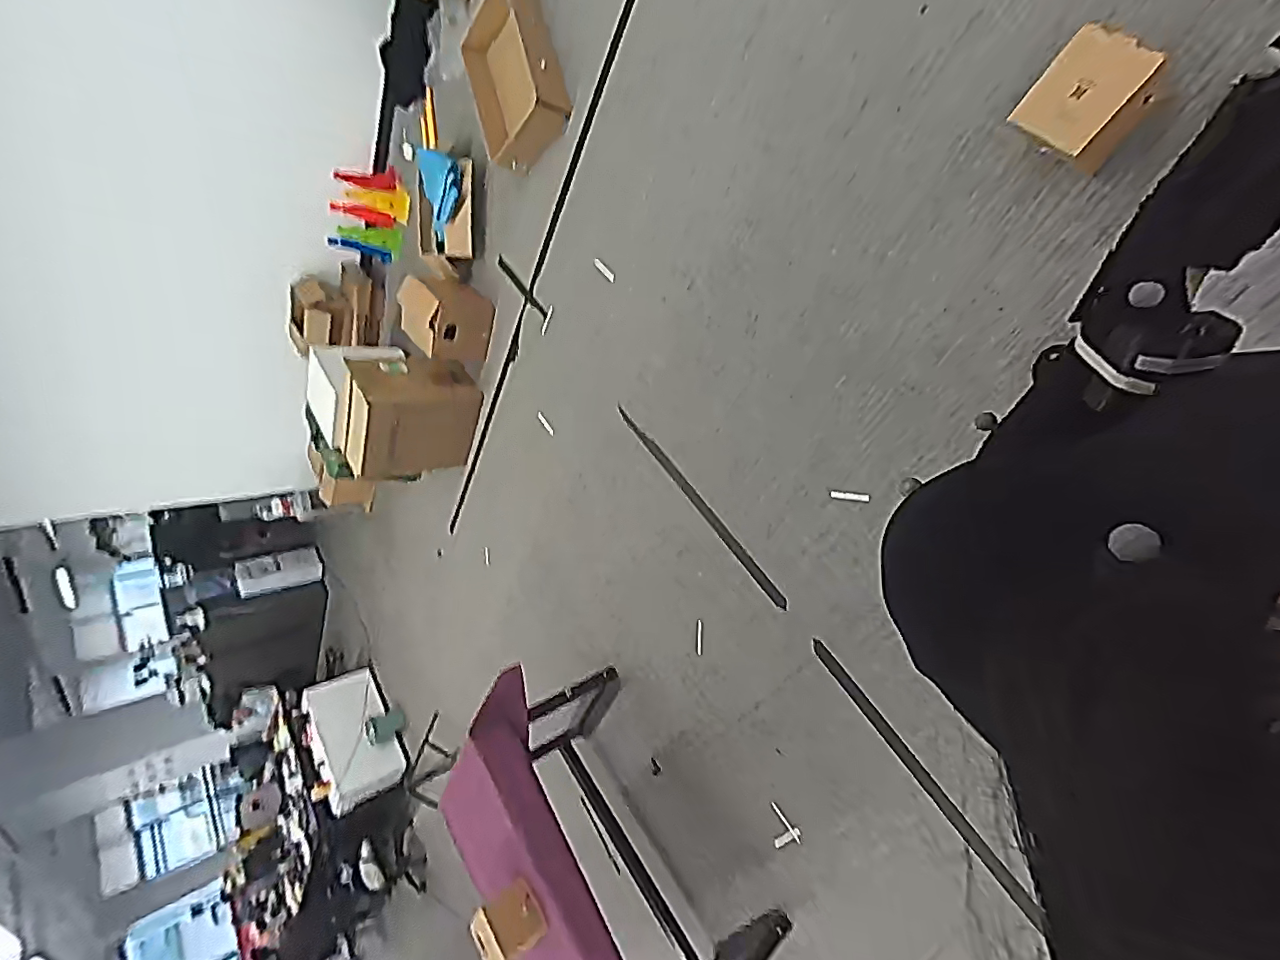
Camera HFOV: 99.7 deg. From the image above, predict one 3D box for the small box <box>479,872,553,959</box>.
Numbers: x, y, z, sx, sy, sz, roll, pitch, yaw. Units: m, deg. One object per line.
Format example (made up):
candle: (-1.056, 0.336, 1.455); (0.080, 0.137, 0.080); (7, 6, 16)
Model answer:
small box: (-0.417, 1.477, 1.818); (0.168, 0.176, 0.179); (46, 127, 30)

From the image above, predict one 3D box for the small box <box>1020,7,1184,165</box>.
small box: (0.900, -0.757, 1.056); (0.168, 0.176, 0.179); (55, 133, 26)
